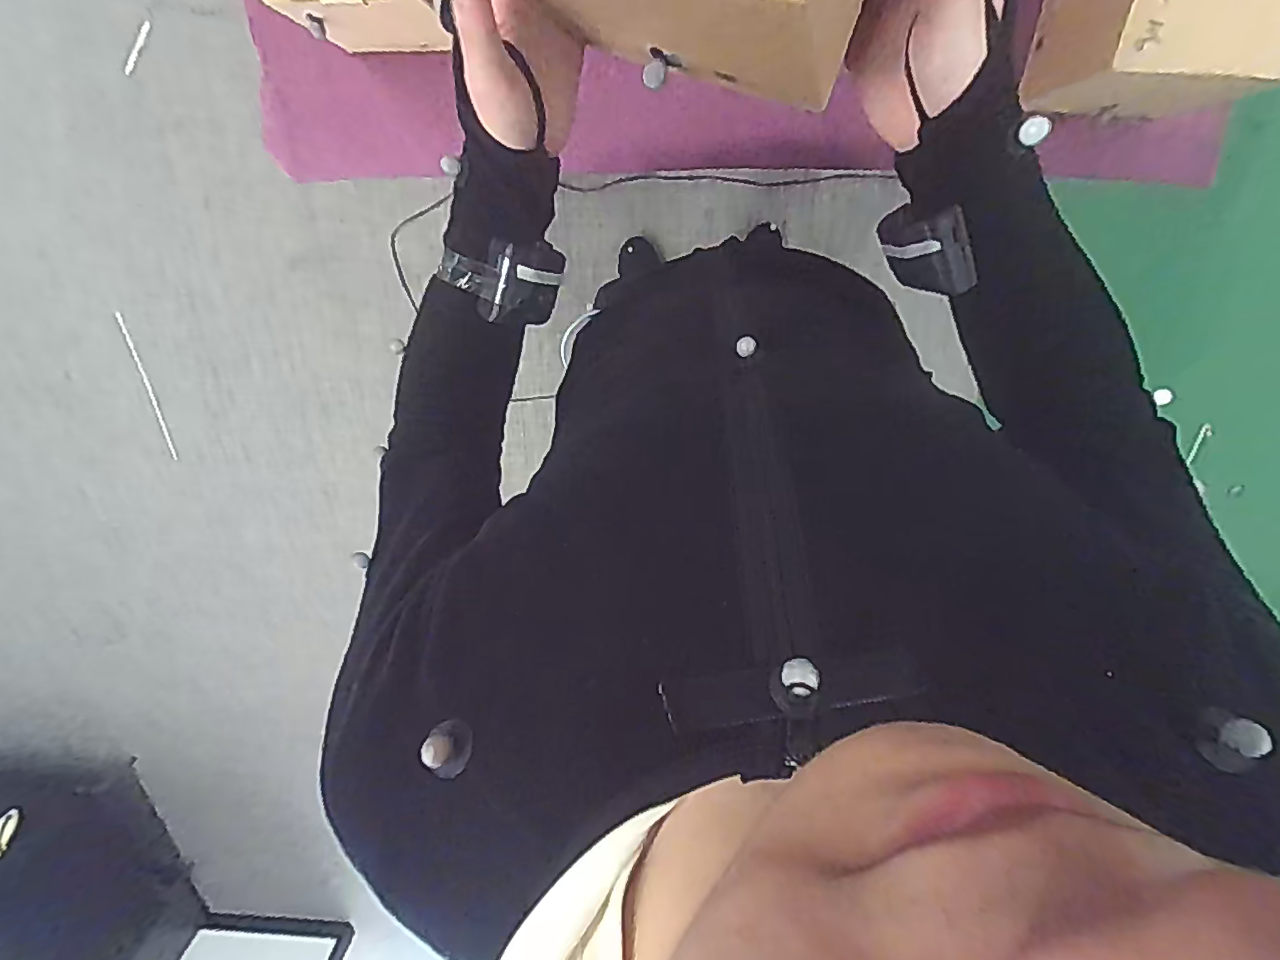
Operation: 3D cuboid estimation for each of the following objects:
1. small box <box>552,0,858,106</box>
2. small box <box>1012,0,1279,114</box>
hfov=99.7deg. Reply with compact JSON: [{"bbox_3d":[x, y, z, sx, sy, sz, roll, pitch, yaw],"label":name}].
[{"bbox_3d":[0.037,-0.310,0.248,0.168,0.176,0.179,23,118,11],"label":"small box"},{"bbox_3d":[0.543,-0.496,0.561,0.179,0.176,0.168,5,114,2],"label":"small box"}]
